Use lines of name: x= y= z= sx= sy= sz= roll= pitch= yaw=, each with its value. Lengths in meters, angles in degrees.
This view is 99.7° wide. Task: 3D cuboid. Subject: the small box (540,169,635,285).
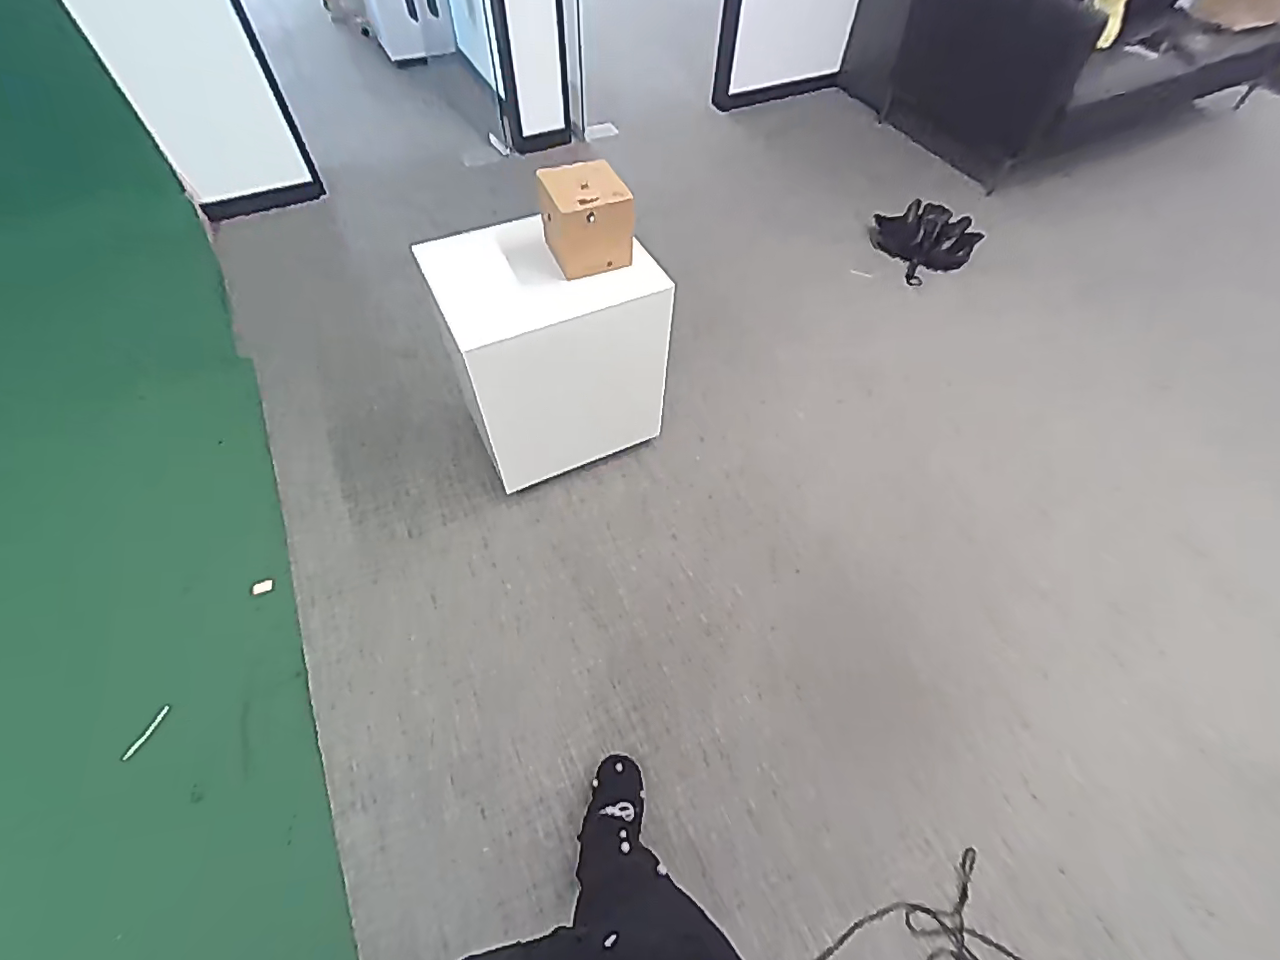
small box: x=-0.121 y=-0.582 z=1.249 sx=0.168 sy=0.176 sz=0.179 roll=-20 pitch=59 yaw=-13
